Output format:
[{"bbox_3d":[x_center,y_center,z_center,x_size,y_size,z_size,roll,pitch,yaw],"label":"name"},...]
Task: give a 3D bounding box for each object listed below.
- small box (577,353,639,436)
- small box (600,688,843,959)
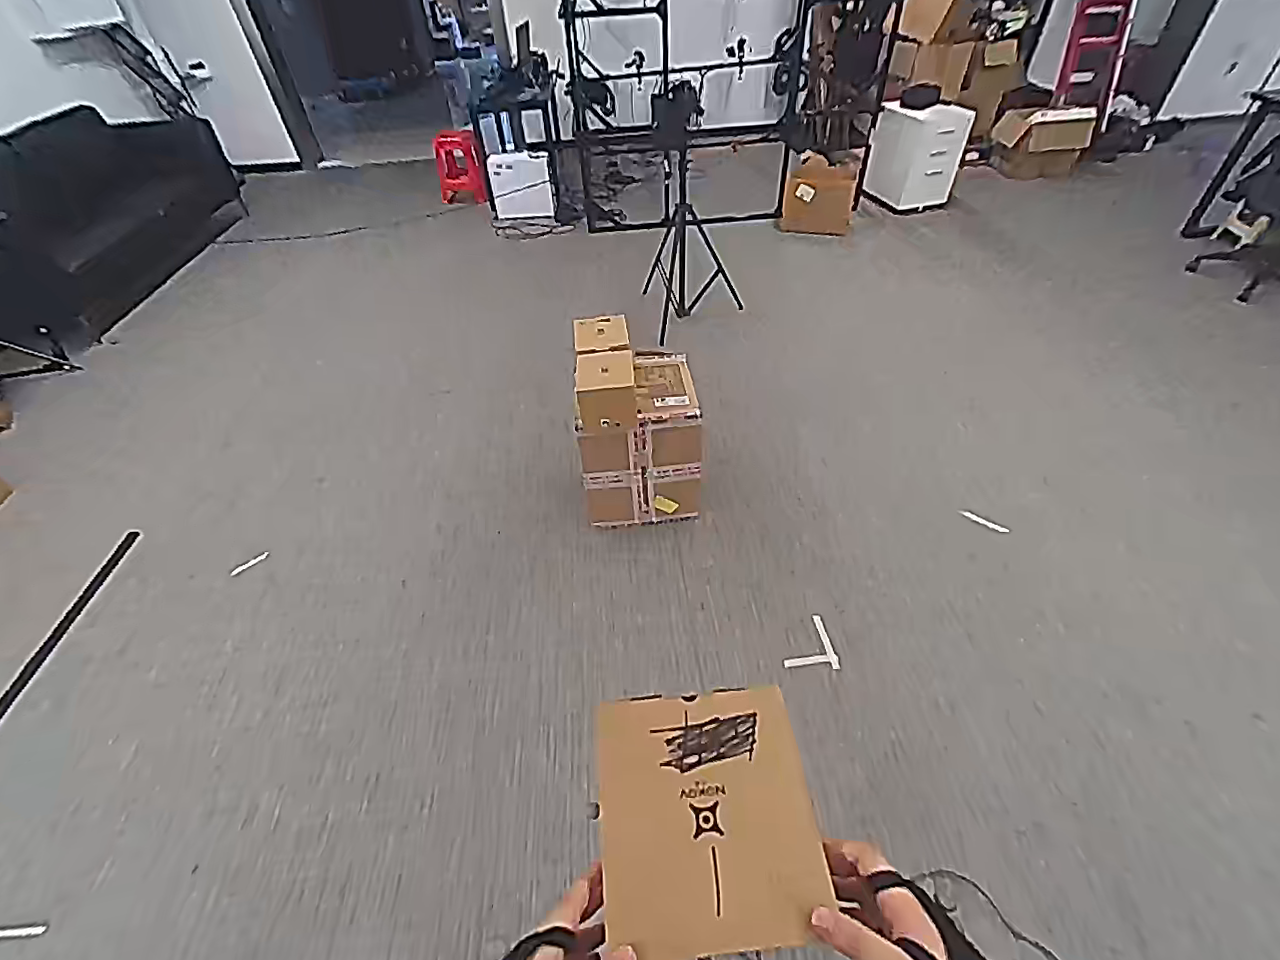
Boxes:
[{"bbox_3d":[-0.094,-0.253,1.601,0.168,0.176,0.179,-6,48,0],"label":"small box"},{"bbox_3d":[0.050,0.305,0.478,0.168,0.176,0.179,-4,50,-3],"label":"small box"}]
